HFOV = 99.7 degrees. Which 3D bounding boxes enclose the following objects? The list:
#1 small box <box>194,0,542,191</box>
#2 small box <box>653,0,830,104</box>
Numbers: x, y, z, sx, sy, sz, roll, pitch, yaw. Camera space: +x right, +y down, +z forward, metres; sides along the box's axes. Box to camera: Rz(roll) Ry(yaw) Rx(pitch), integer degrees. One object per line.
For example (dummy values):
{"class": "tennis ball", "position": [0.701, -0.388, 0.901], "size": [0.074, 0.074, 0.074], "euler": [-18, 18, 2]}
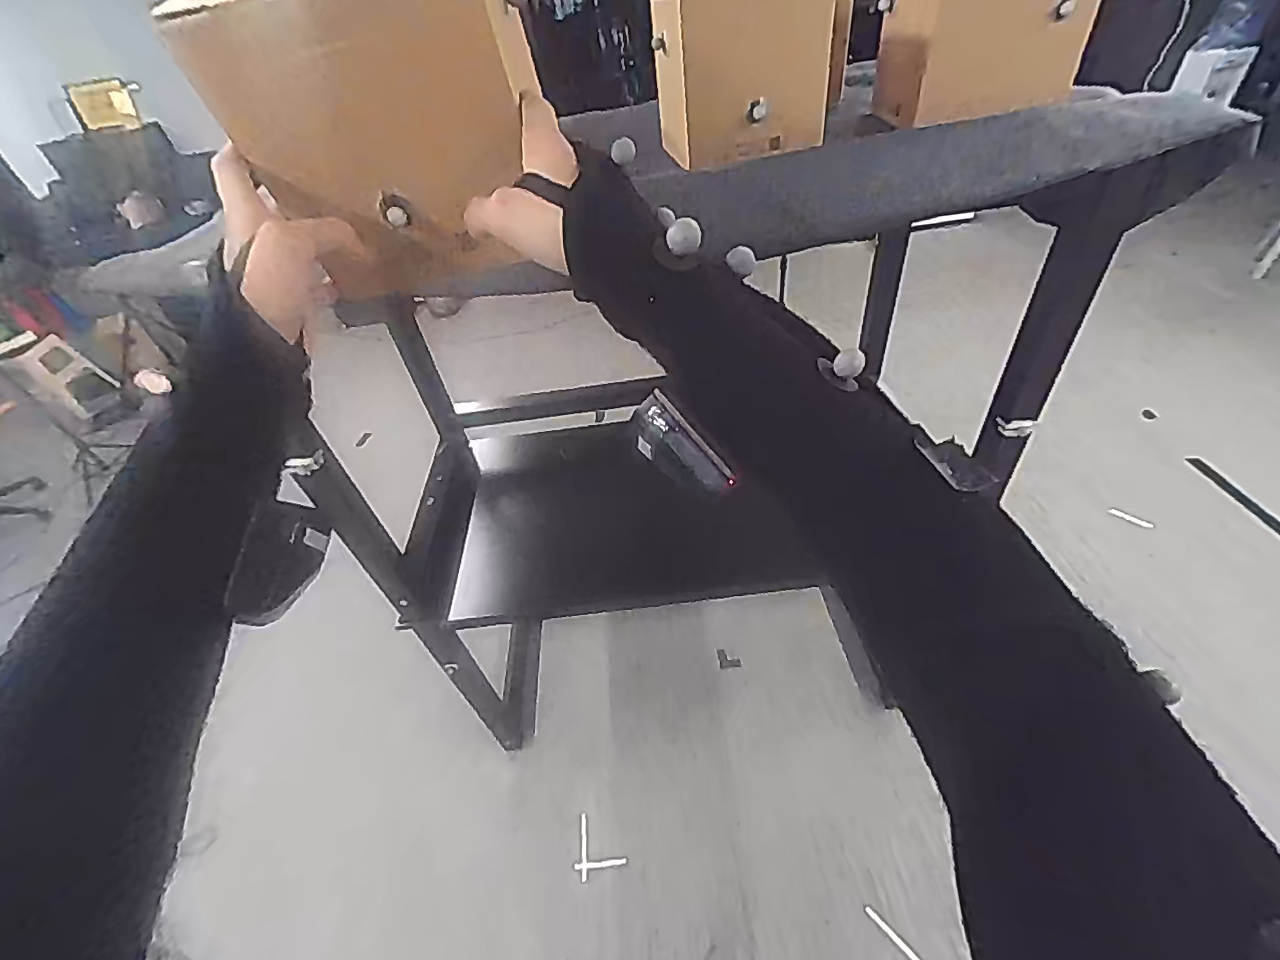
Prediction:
{"class": "small box", "position": [-0.164, -0.315, 0.336], "size": [0.168, 0.176, 0.179], "euler": [-12, 55, 3]}
{"class": "small box", "position": [0.107, -0.550, 0.621], "size": [0.168, 0.176, 0.179], "euler": [-11, 43, -2]}
